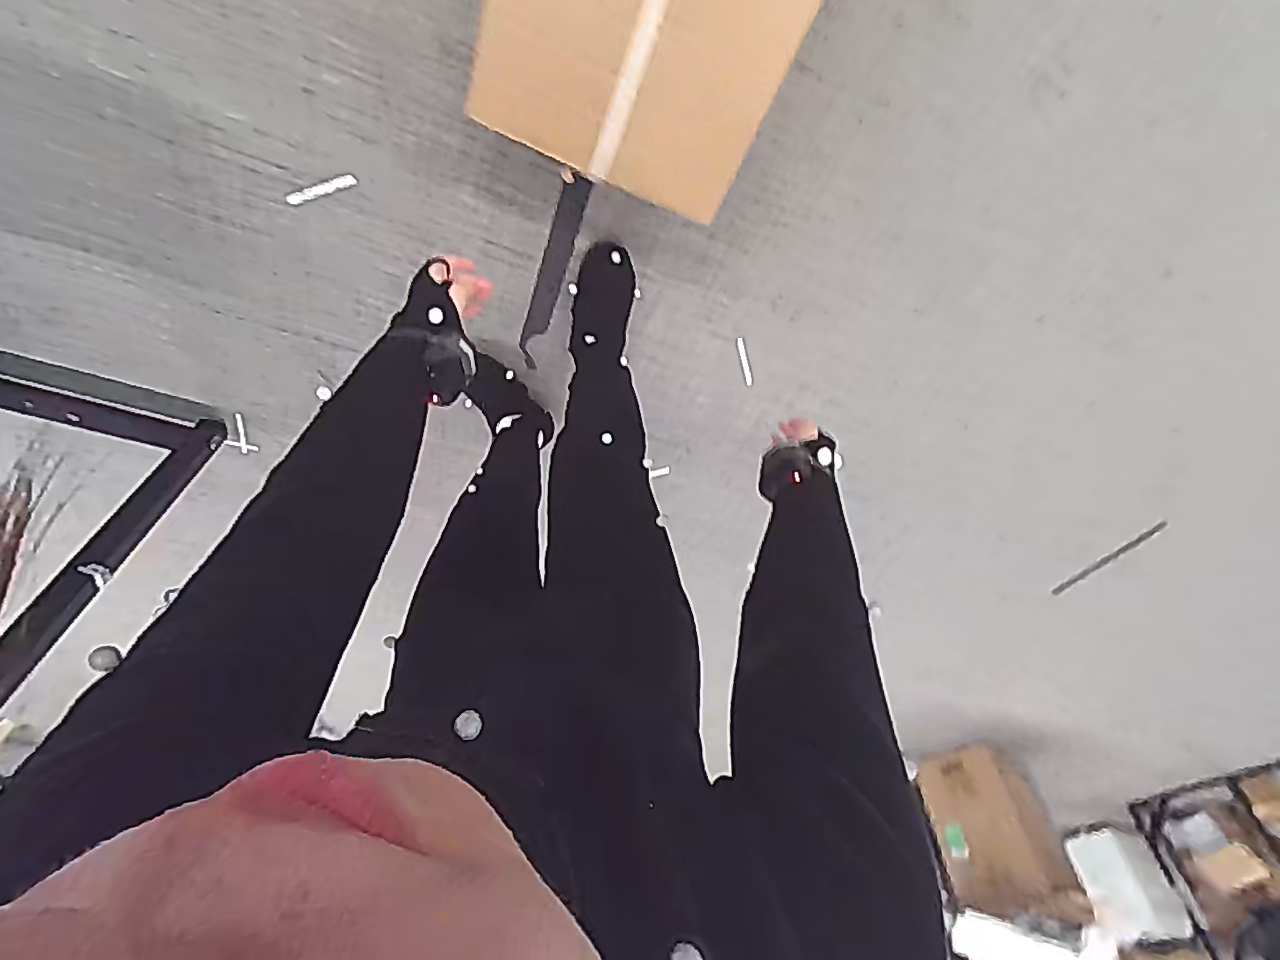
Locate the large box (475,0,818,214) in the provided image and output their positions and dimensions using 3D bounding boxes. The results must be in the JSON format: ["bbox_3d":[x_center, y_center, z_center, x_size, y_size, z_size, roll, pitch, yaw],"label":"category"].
[{"bbox_3d":[0.029,-0.610,0.628,0.320,0.320,0.408,17,132,-16],"label":"large box"}]
